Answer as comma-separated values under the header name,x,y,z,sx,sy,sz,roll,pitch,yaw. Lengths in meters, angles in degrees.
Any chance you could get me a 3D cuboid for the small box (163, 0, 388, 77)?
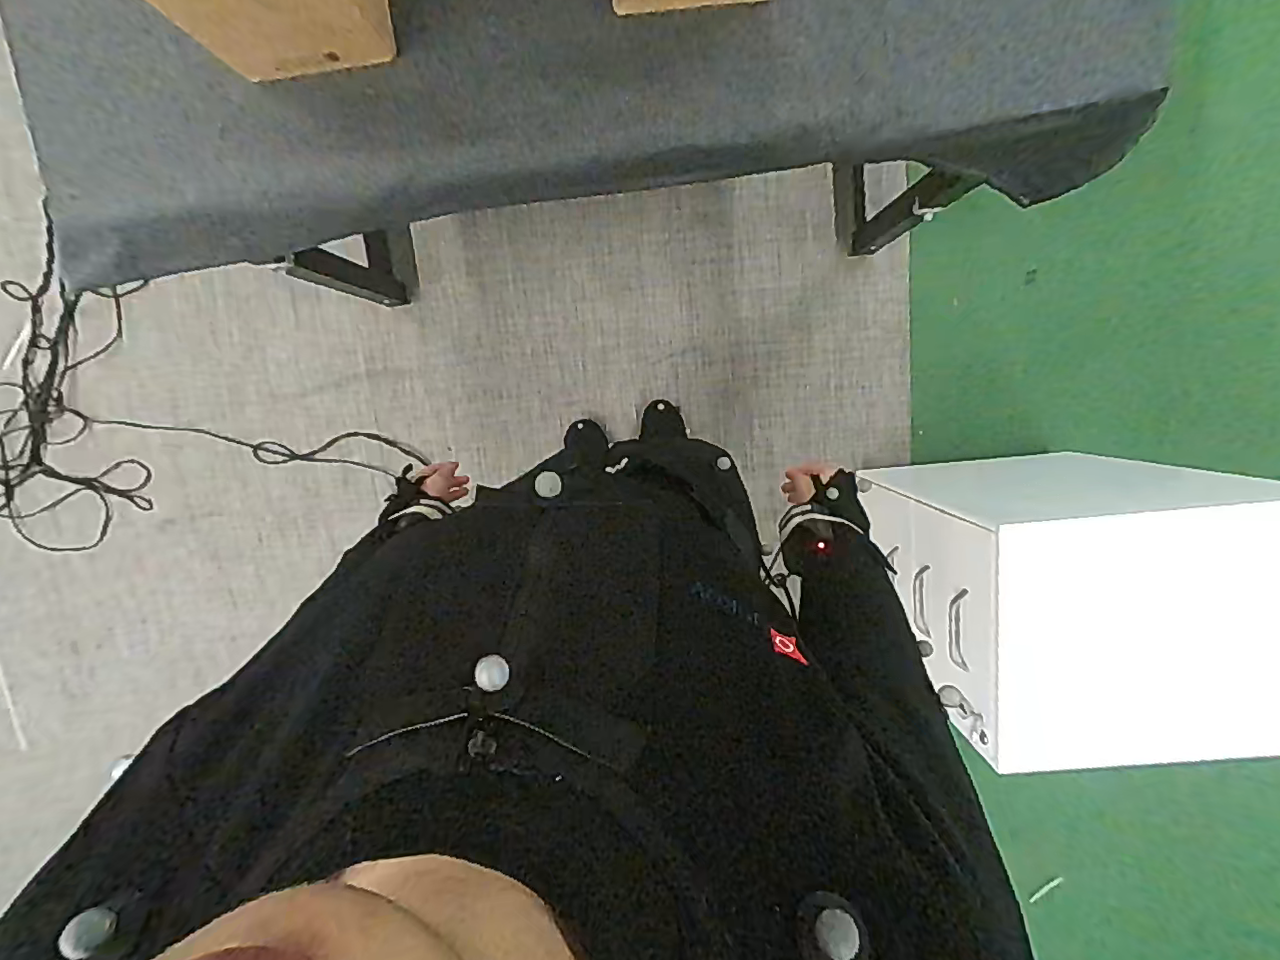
name,x,y,z,sx,sy,sz,roll,pitch,yaw
small box,-0.349,-0.504,0.474,0.168,0.176,0.179,-7,98,1
